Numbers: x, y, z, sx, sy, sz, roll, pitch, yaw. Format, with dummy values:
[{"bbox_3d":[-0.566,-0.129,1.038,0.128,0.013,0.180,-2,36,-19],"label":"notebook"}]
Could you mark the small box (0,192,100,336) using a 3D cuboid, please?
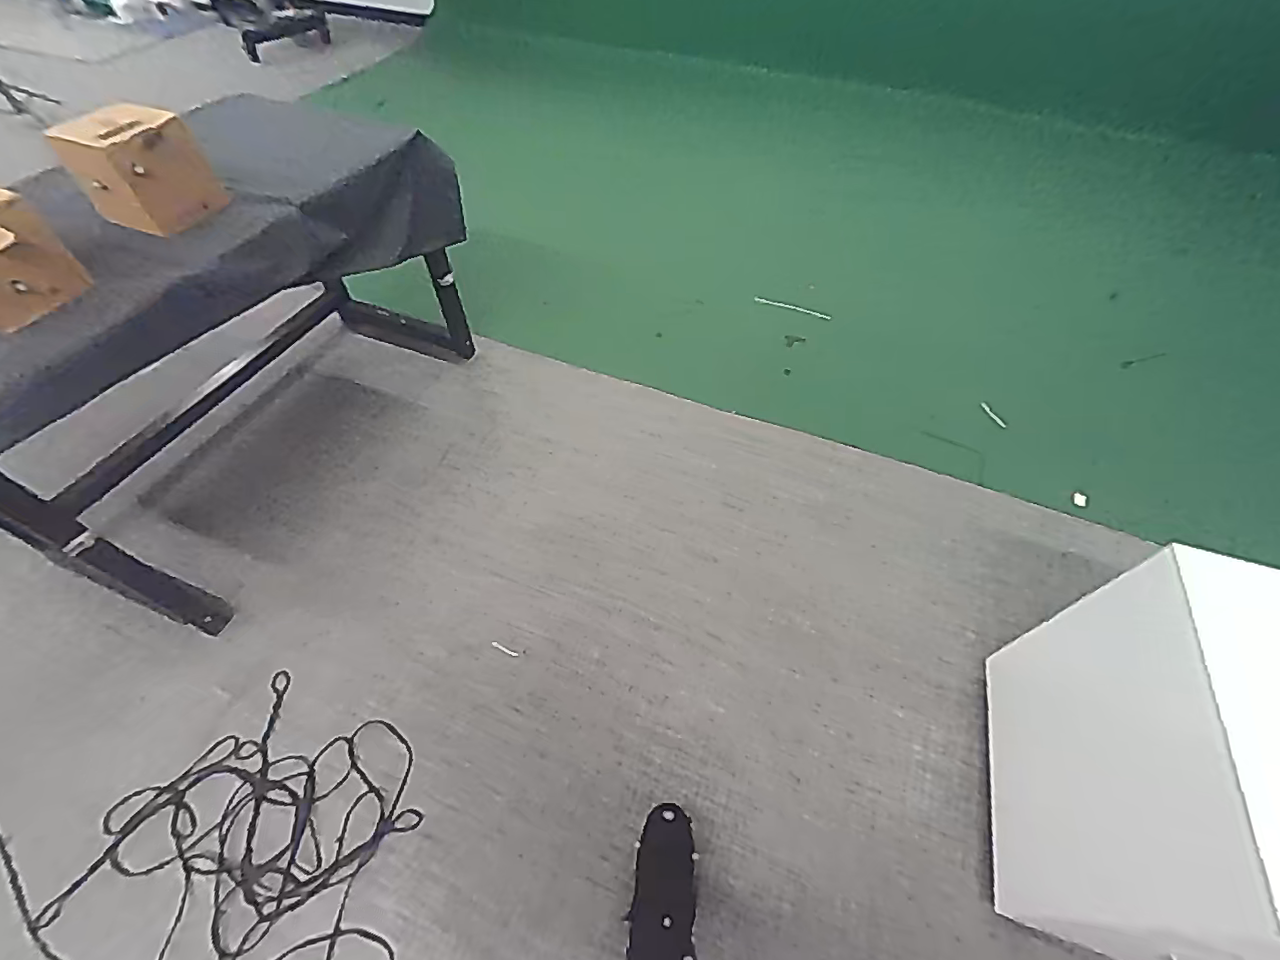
[{"bbox_3d":[-1.095,-0.367,0.906,0.179,0.176,0.168,19,55,12],"label":"small box"}]
